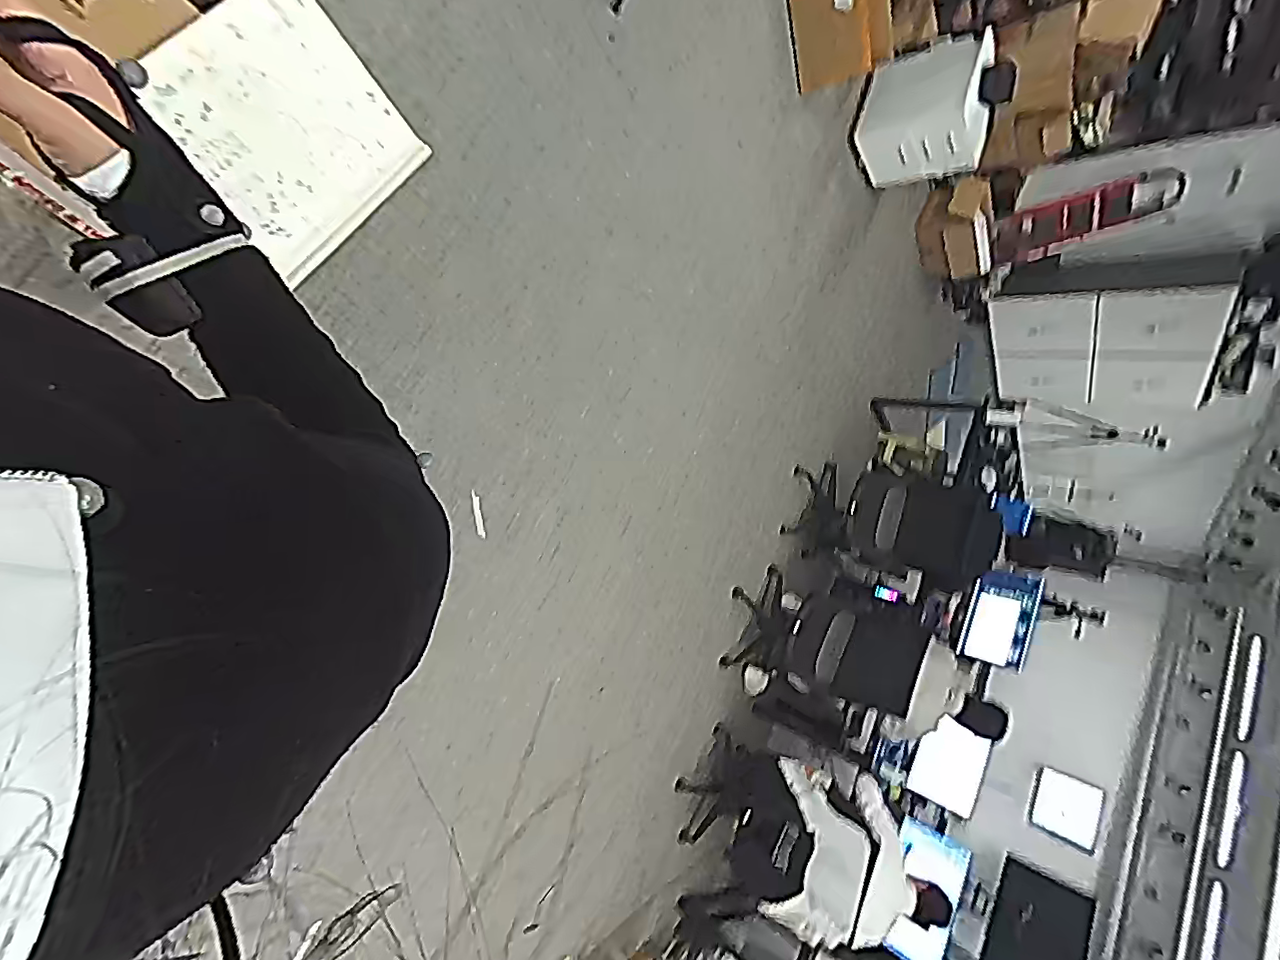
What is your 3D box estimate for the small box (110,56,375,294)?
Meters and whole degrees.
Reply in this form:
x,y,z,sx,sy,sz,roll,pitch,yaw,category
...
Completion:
x,y,z,sx,sy,sz,roll,pitch,yaw,category
-0.462,-0.341,0.631,0.179,0.176,0.168,-58,137,-18,small box
